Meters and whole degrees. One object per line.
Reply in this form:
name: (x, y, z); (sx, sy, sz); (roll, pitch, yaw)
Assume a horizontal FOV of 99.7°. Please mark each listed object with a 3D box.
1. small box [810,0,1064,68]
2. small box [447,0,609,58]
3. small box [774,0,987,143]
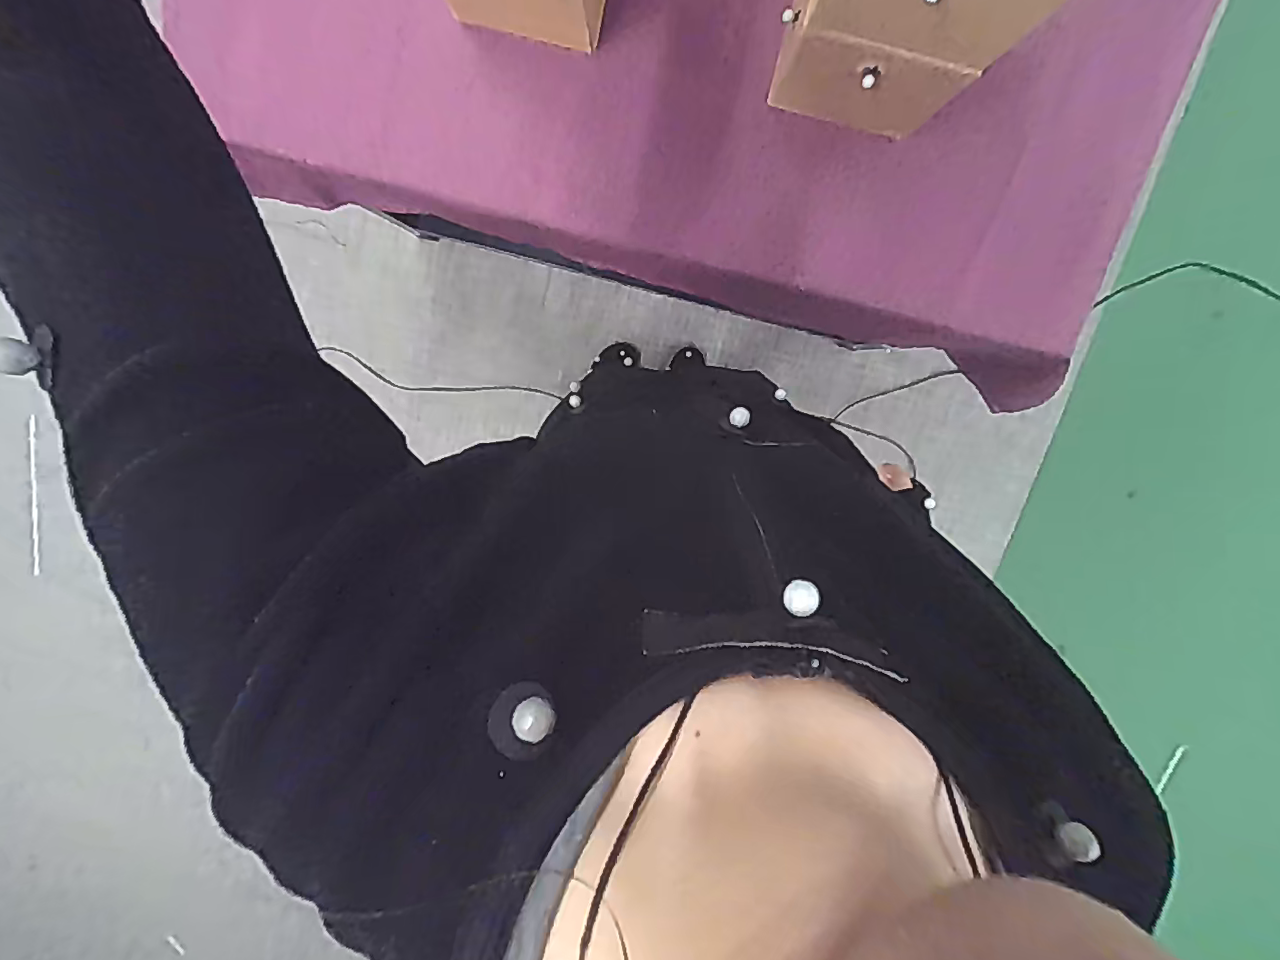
small box: (0.255, -0.458, 0.412); (0.179, 0.176, 0.168); (13, 103, -1)
small box: (-0.121, -0.586, 0.562); (0.179, 0.176, 0.168); (12, 102, -2)
small box: (0.259, -0.491, 0.573); (0.179, 0.176, 0.168); (14, 102, -2)
